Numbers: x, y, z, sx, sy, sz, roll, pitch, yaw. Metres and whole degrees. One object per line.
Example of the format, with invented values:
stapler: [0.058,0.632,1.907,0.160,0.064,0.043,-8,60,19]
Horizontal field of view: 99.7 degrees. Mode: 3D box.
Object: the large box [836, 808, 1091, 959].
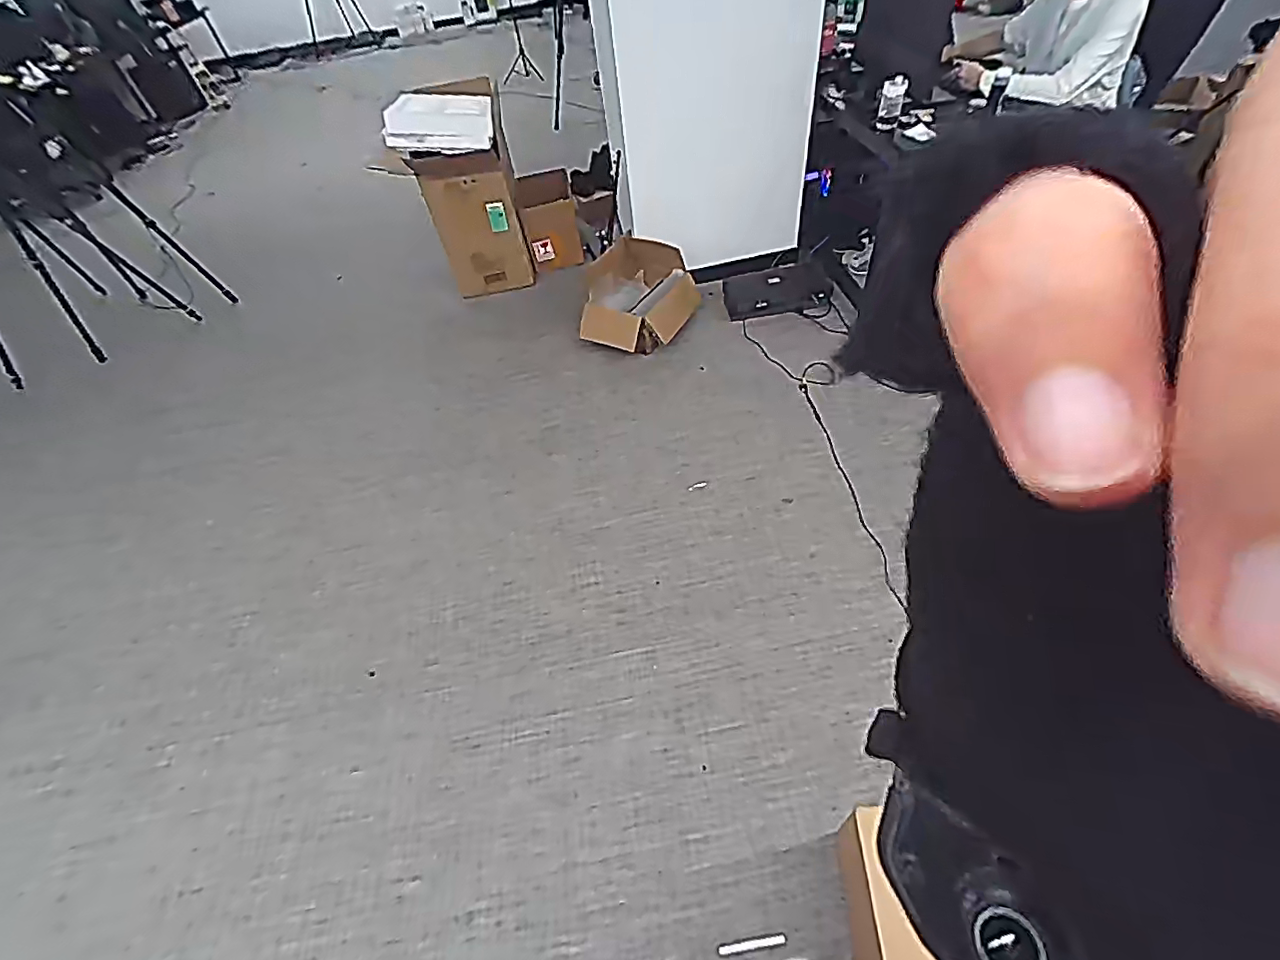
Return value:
large box: [0.572,0.847,0.979,0.320,0.320,0.408,-4,51,8]
